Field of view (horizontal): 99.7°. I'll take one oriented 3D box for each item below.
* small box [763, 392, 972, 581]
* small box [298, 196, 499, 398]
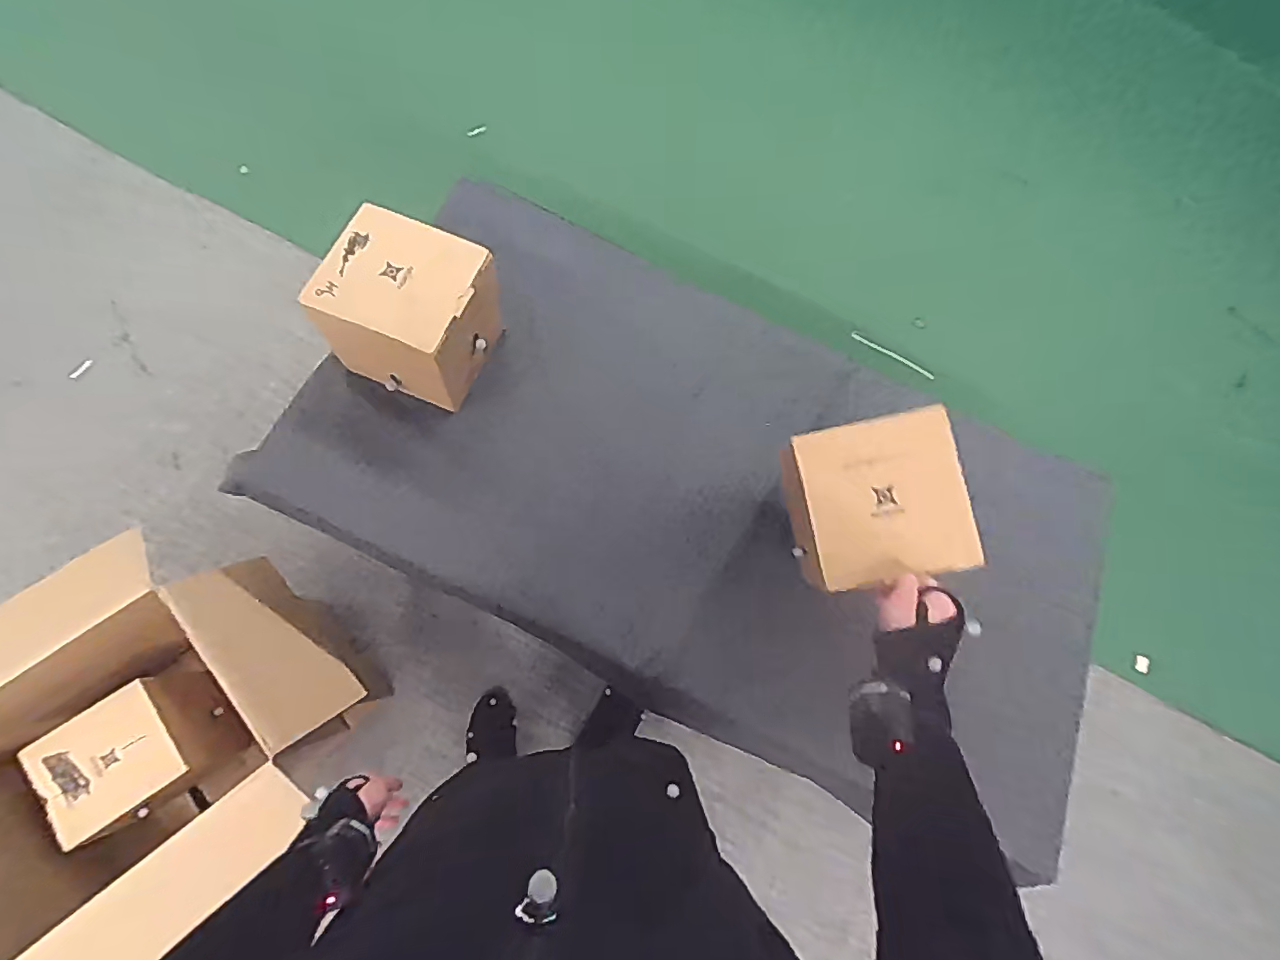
[{"bbox_3d":[0.258,0.013,0.658,0.168,0.176,0.179,-14,83,4],"label":"small box"},{"bbox_3d":[-0.307,-0.234,0.737,0.179,0.176,0.168,22,71,-2],"label":"small box"}]
